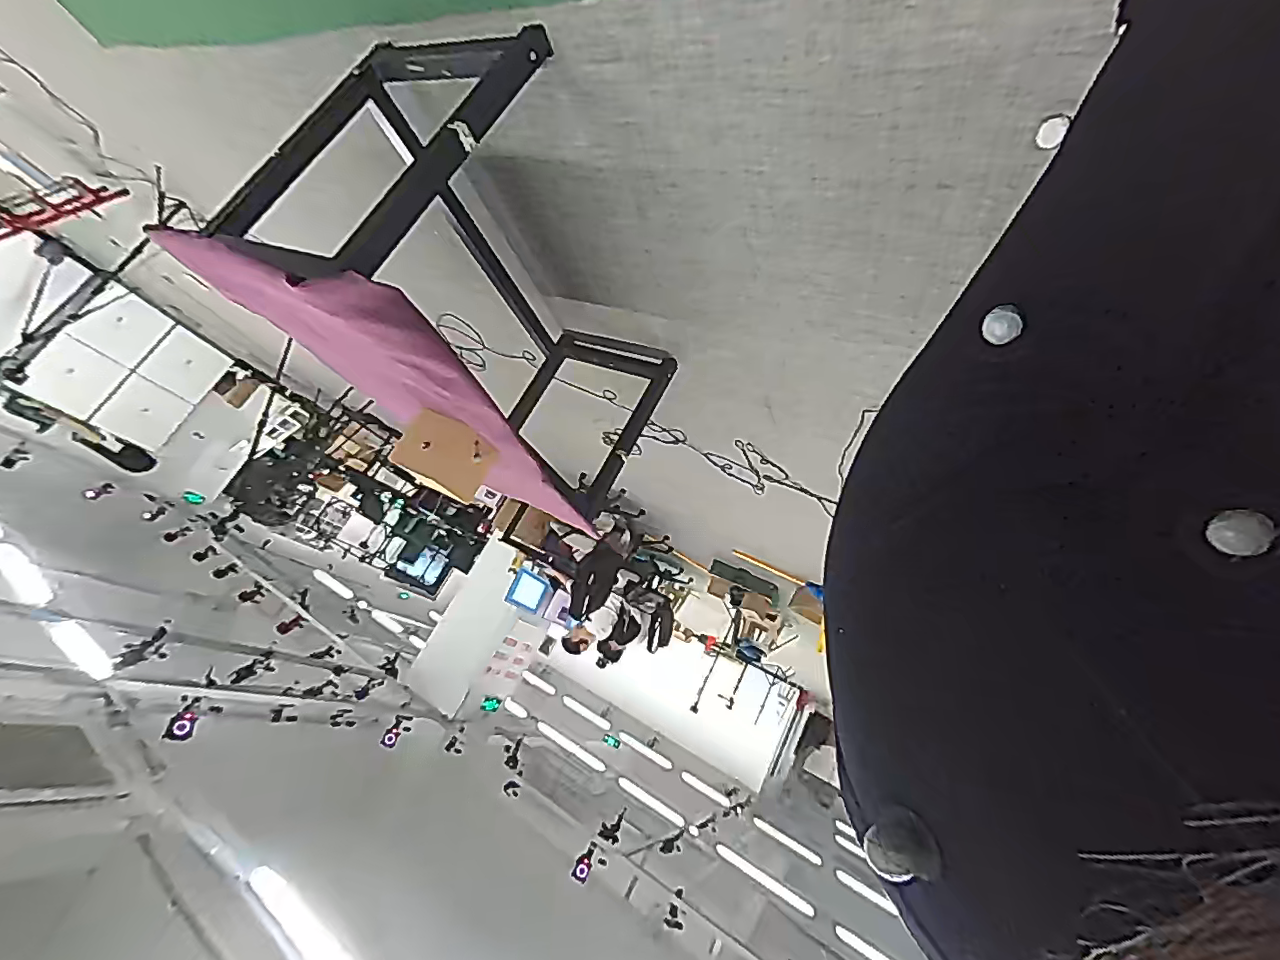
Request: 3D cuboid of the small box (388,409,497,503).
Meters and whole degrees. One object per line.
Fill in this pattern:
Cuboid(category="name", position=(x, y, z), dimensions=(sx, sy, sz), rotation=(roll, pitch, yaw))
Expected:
Cuboid(category="small box", position=(-0.519, -0.068, 1.441), dimensions=(0.179, 0.176, 0.168), rotation=(21, 163, 26))
